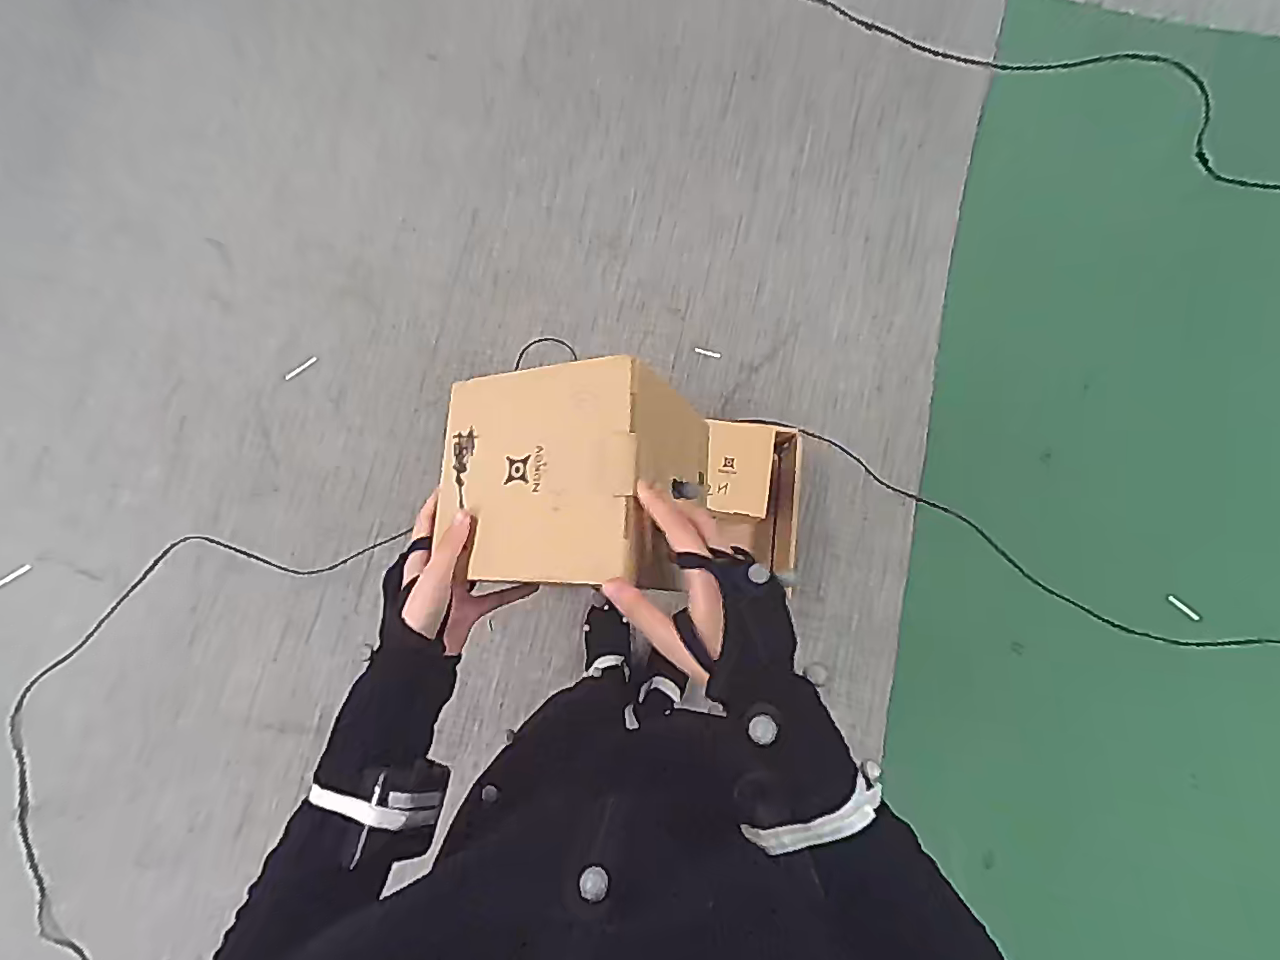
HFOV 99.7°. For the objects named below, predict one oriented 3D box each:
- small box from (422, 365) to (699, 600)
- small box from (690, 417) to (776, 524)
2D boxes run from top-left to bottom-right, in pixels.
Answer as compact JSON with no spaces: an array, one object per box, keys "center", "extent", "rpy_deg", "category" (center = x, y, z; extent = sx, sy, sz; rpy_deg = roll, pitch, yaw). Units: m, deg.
[{"center":[-0.055,0.016,0.477],"extent":[0.179,0.176,0.168],"rpy_deg":[-3,75,26],"category":"small box"},{"center":[0.168,-0.012,1.103],"extent":[0.168,0.176,0.179],"rpy_deg":[9,82,2],"category":"small box"}]
